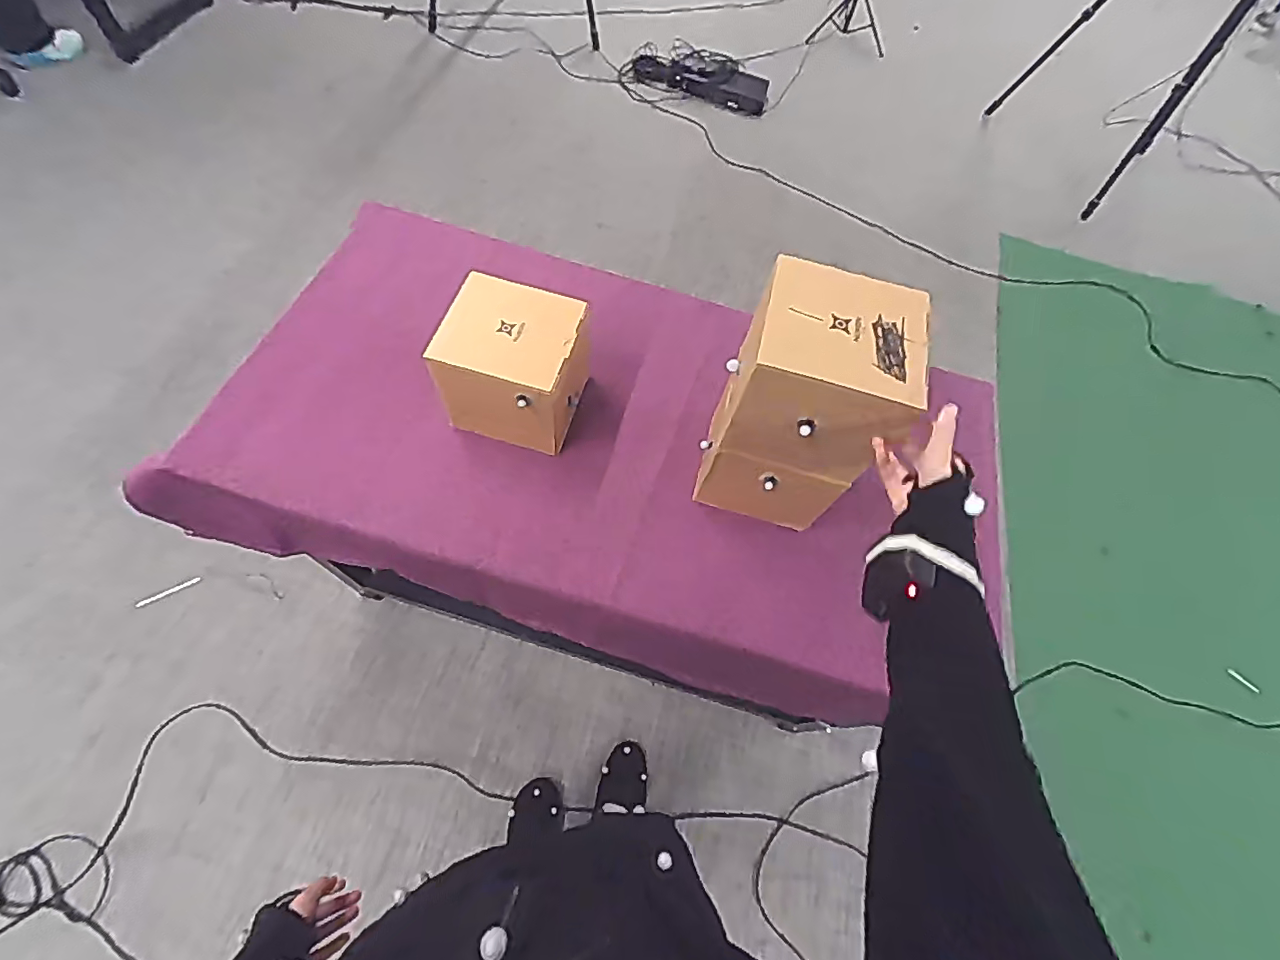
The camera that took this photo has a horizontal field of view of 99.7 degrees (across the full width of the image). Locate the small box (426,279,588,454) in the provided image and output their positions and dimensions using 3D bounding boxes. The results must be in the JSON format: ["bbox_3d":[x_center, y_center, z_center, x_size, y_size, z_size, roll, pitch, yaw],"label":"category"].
[{"bbox_3d":[-0.185,-0.160,0.803,0.179,0.176,0.168,15,62,0],"label":"small box"}]

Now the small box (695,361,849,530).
[{"bbox_3d":[0.190,-0.045,0.787,0.179,0.176,0.168,17,63,1],"label":"small box"}]

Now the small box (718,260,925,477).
[{"bbox_3d":[0.207,-0.121,0.643,0.179,0.176,0.168,16,62,2],"label":"small box"}]
